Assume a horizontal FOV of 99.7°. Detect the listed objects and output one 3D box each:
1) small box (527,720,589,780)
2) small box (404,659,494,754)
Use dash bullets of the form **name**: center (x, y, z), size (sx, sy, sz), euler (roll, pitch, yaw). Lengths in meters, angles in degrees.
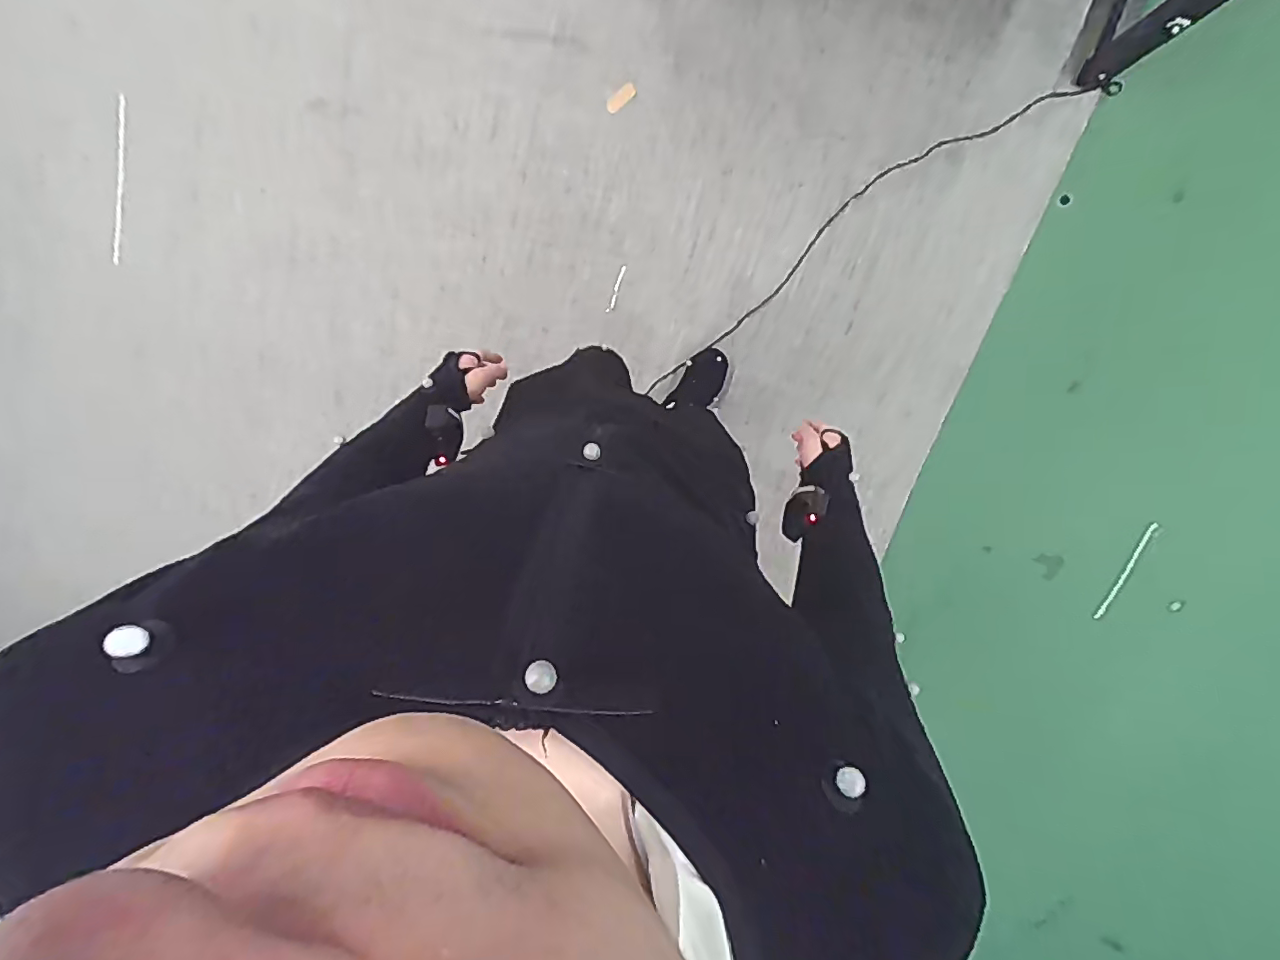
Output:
- **small box**: center (-0.288, 0.945, 1.817), size (0.179, 0.176, 0.168), euler (21, 106, 0)
- **small box**: center (-0.562, 0.667, 1.612), size (0.179, 0.176, 0.168), euler (25, 105, -1)
